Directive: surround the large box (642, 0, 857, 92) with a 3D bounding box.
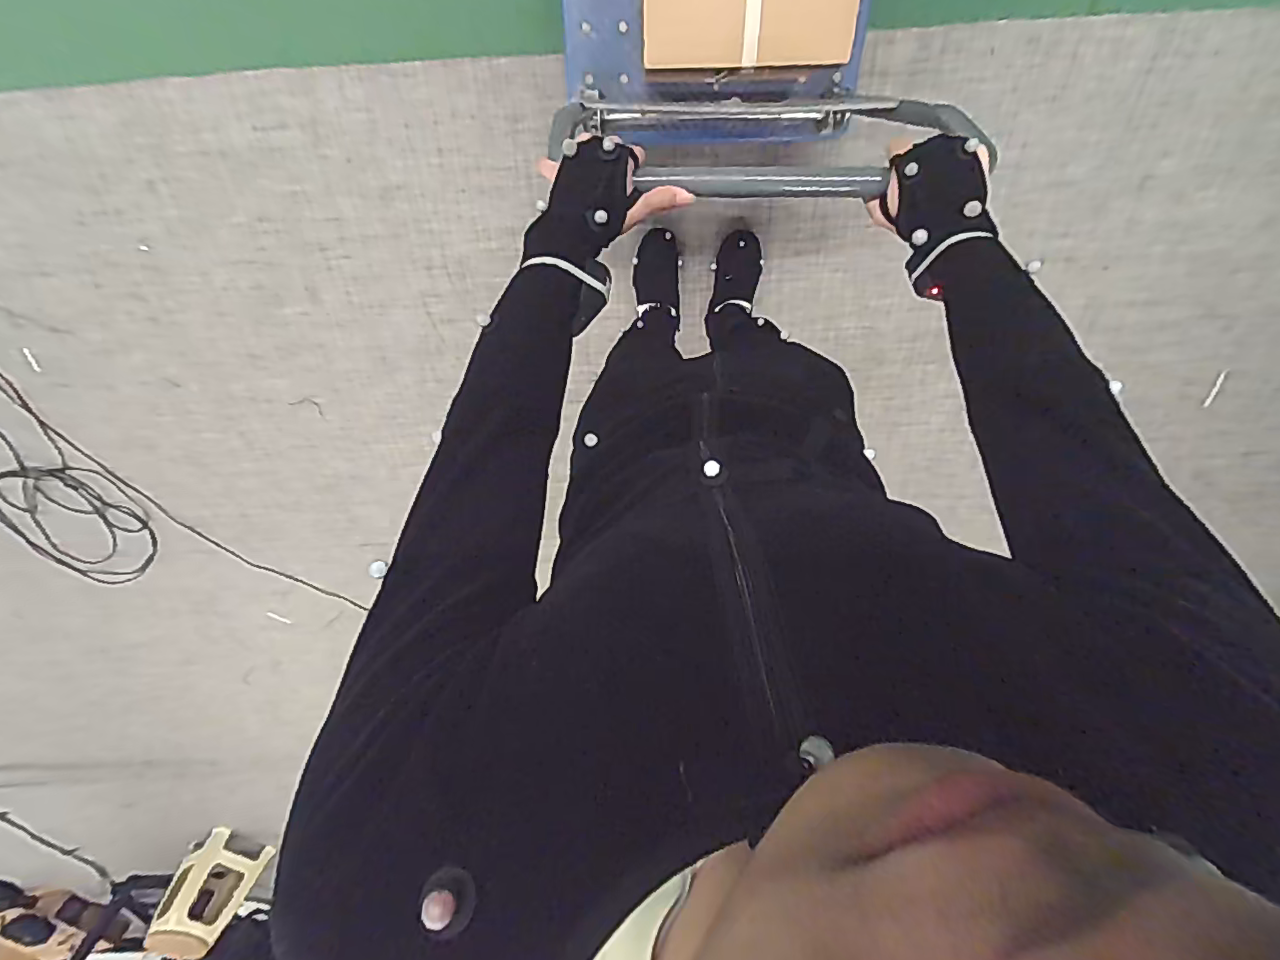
[{"bbox_3d":[0.159,-0.868,0.846,0.320,0.320,0.408,-1,122,0],"label":"large box"}]
